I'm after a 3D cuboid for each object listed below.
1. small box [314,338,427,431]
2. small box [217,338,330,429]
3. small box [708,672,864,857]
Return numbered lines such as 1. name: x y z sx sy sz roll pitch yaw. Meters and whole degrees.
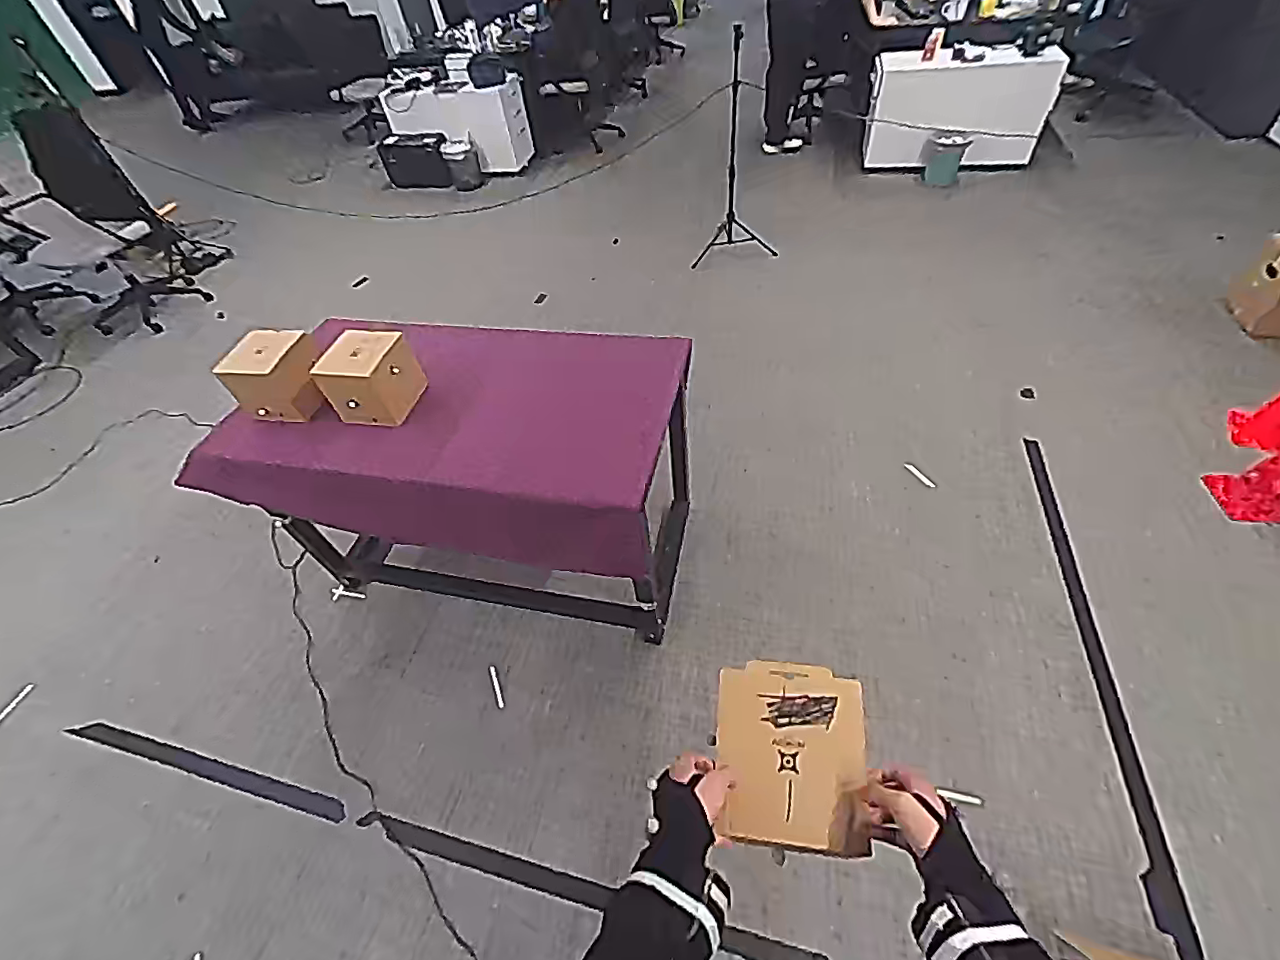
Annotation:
1. small box: -0.683 -0.245 1.396 0.168 0.176 0.179 5 50 12
2. small box: -0.953 -0.258 1.443 0.168 0.176 0.179 3 50 11
3. small box: 0.176 0.363 0.688 0.168 0.176 0.179 0 55 12
